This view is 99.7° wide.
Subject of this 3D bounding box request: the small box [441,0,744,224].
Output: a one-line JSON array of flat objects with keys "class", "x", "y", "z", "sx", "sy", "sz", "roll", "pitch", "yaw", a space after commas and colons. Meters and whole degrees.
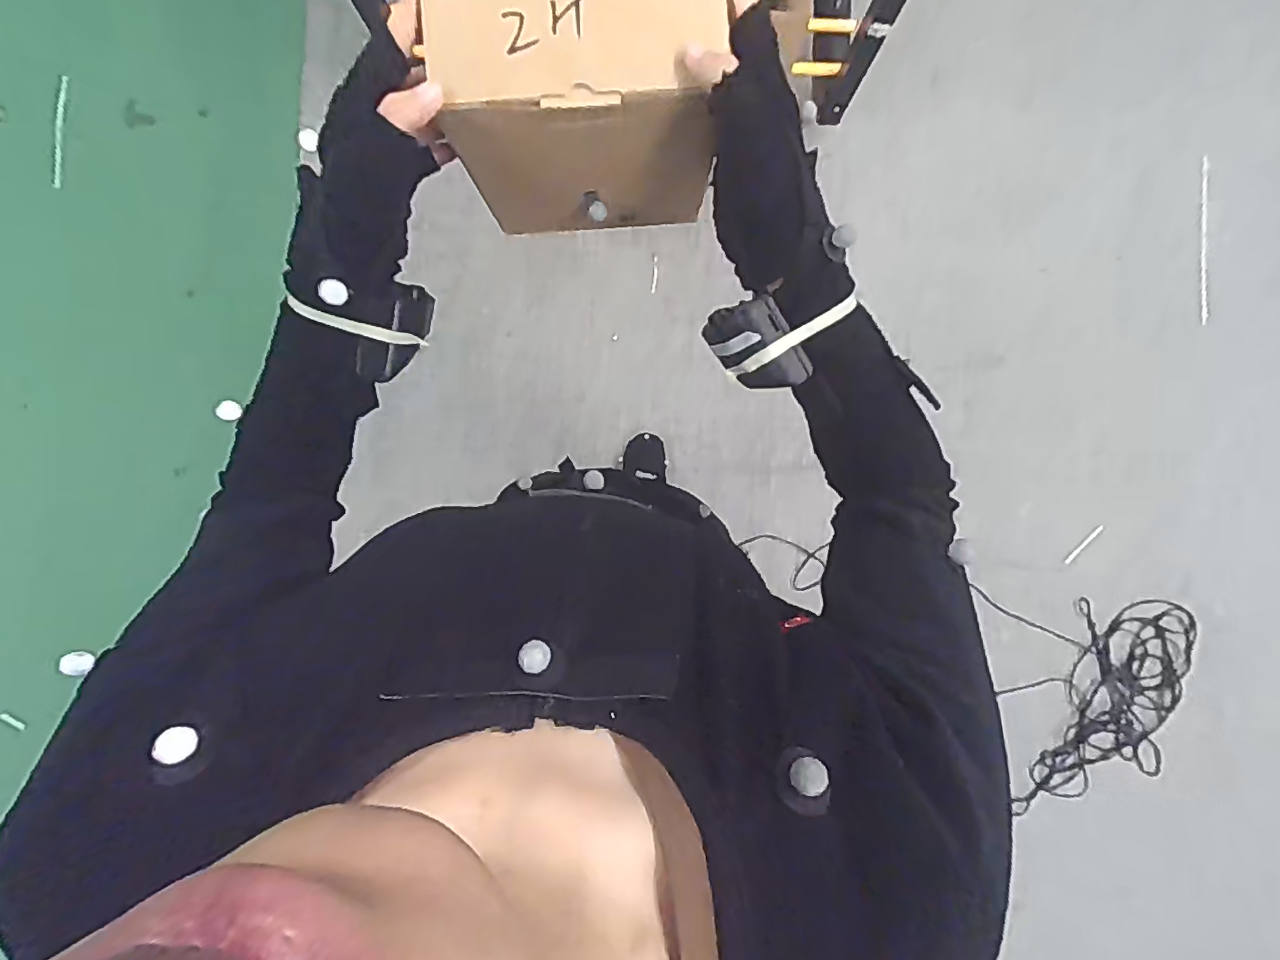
[{"class": "small box", "x": -0.029, "y": -0.304, "z": 0.372, "sx": 0.168, "sy": 0.176, "sz": 0.179, "roll": -3, "pitch": 91, "yaw": 0}]
